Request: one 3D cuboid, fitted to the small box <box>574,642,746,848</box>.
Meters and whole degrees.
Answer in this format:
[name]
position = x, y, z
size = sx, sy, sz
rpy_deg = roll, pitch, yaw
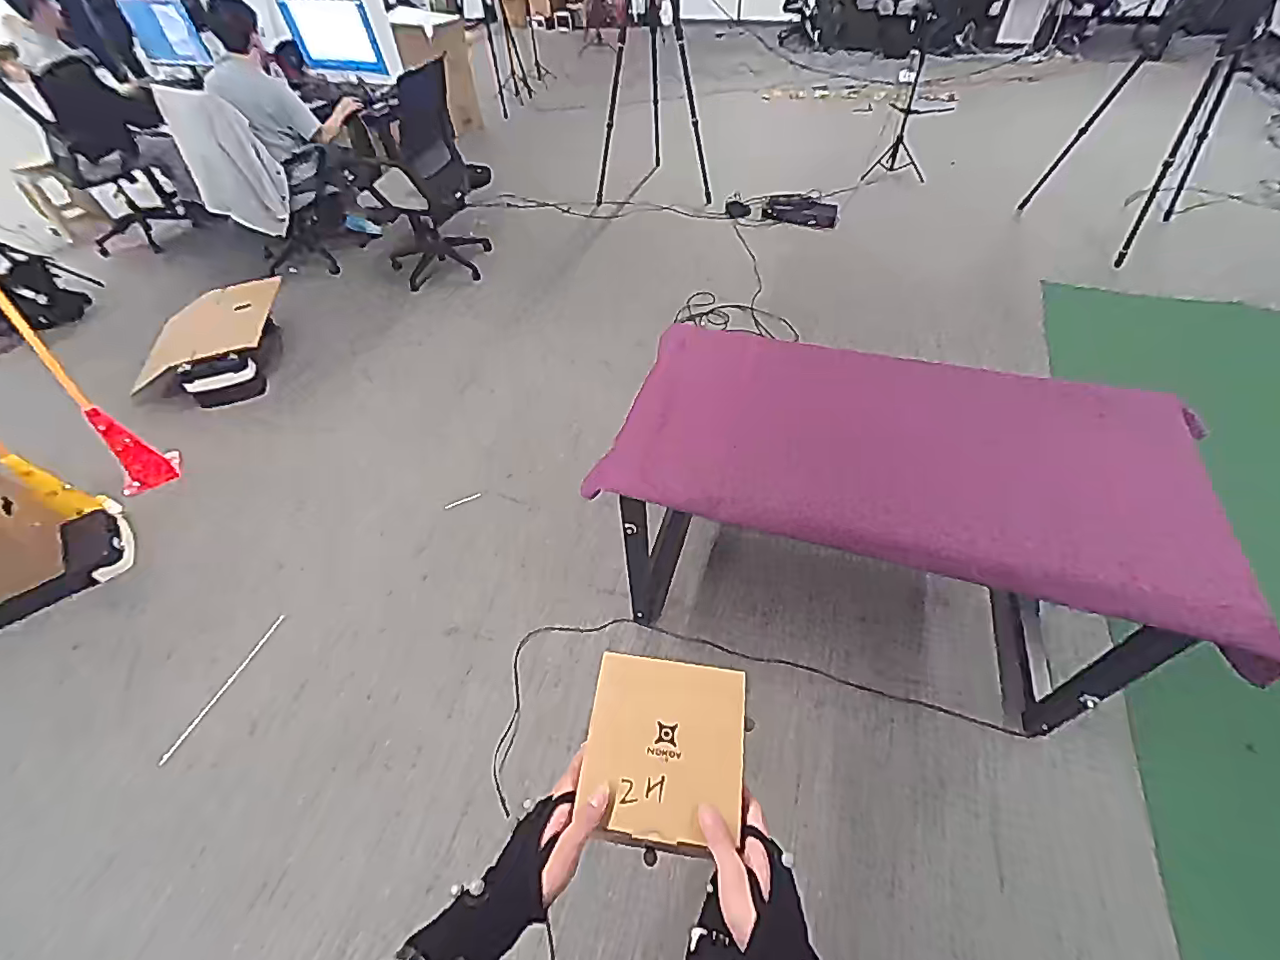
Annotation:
[small box]
position = 0.027, 0.314, 0.637
size = 0.168, 0.176, 0.179
rpy_deg = 7, 55, 6
